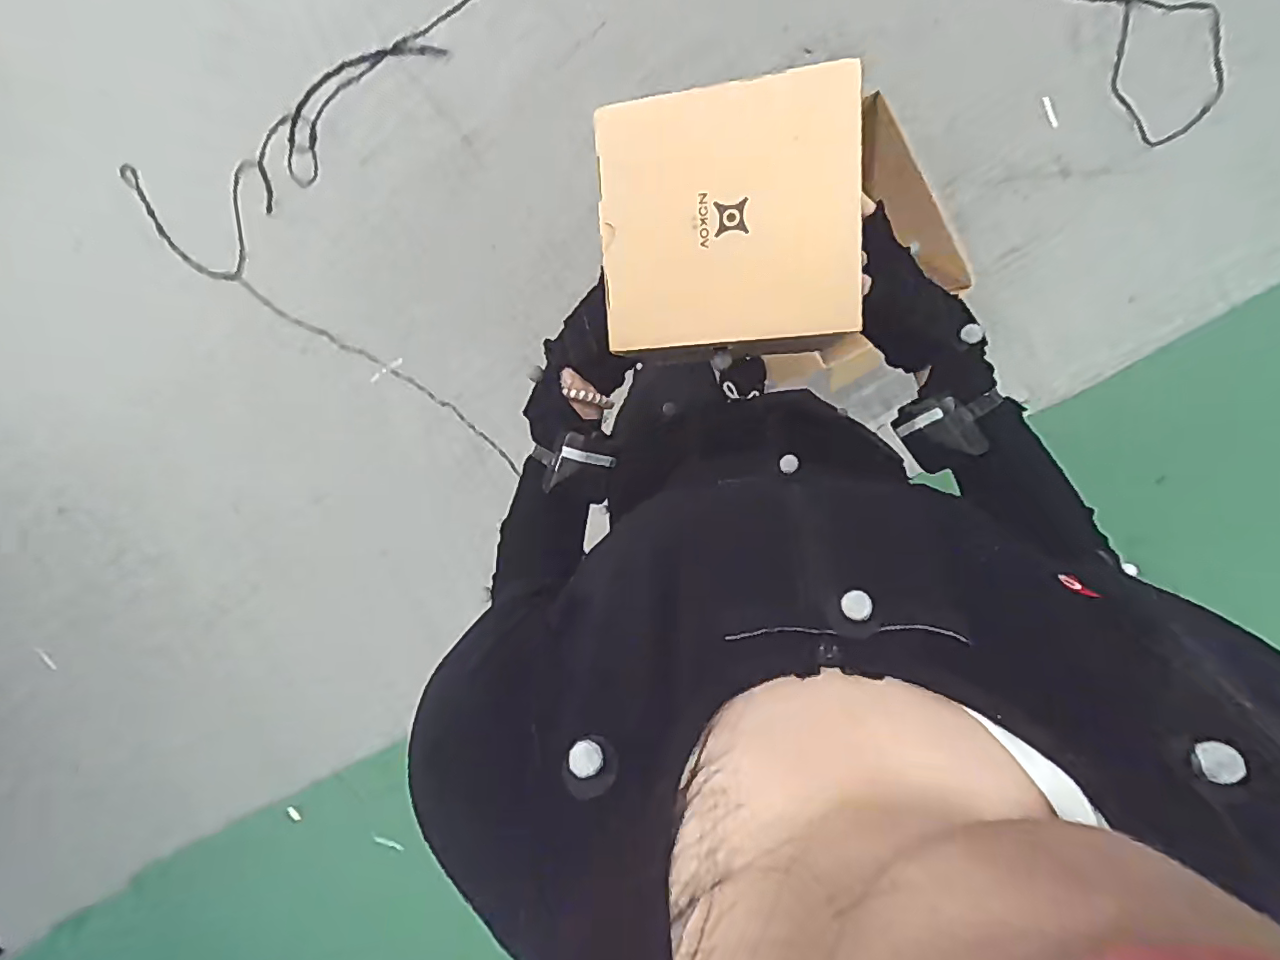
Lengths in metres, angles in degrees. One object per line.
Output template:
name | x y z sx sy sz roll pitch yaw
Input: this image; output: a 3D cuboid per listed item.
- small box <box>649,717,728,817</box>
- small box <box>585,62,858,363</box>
small box | 0.149 0.858 1.628 0.179 0.176 0.168 -33 99 12
small box | 0.070 -0.186 0.436 0.179 0.176 0.168 -2 99 15
